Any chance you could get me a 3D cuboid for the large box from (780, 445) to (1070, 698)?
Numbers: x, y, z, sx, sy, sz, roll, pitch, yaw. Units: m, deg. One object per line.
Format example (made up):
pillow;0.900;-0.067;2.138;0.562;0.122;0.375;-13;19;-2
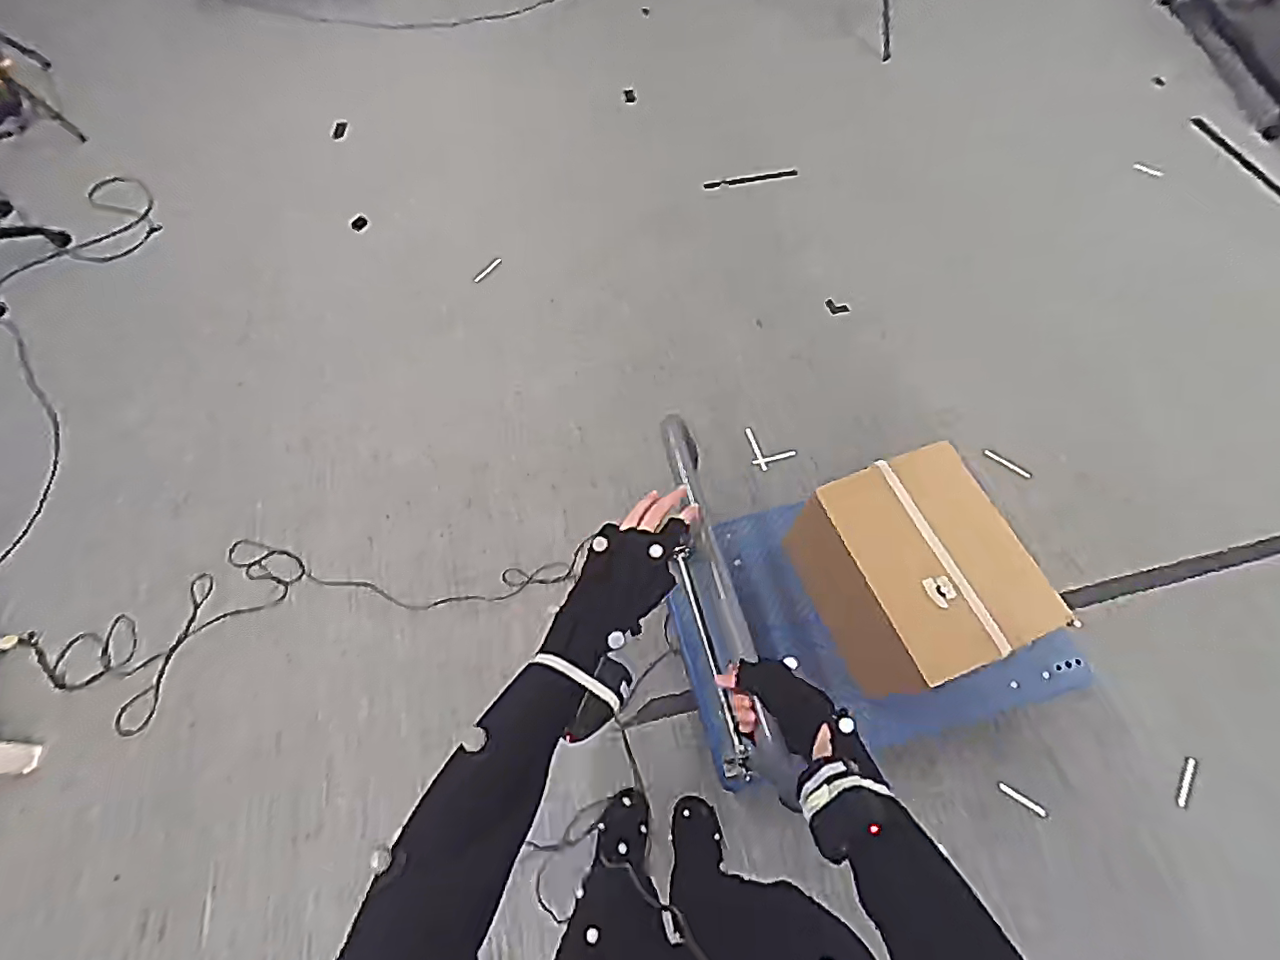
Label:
large box;0.560;0.204;1.160;0.320;0.320;0.408;-20;66;-8
